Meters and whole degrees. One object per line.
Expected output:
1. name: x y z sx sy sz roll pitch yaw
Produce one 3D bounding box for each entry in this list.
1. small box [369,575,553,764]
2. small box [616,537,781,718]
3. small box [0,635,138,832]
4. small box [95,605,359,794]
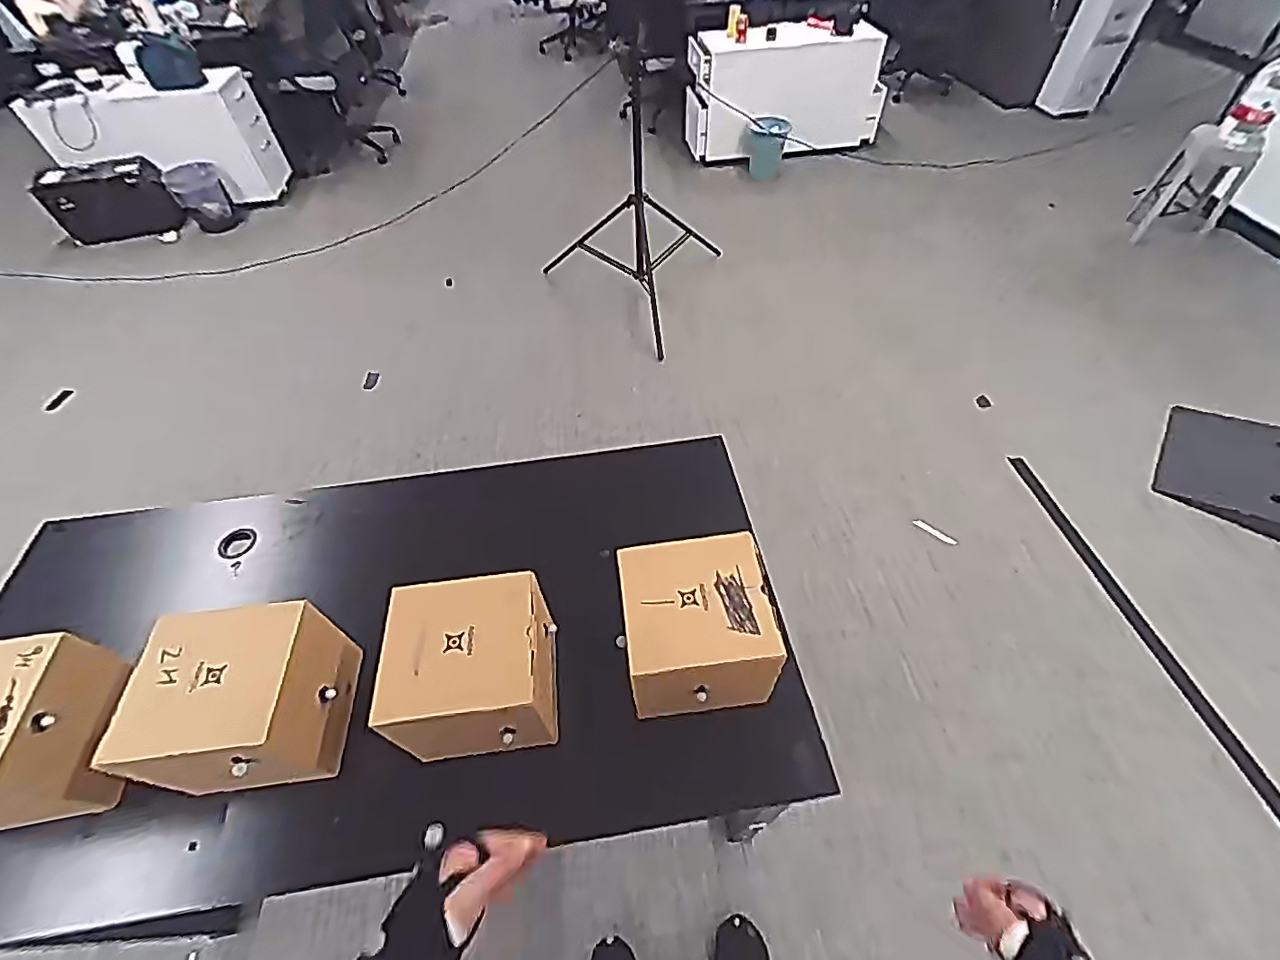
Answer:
1. small box: -0.207 0.242 0.683 0.179 0.176 0.168 -8 50 -3
2. small box: 0.066 0.195 0.705 0.179 0.176 0.168 -7 51 -1
3. small box: -0.749 0.311 0.650 0.179 0.176 0.168 -10 52 -5
4. small box: -0.479 0.274 0.667 0.179 0.176 0.168 -7 51 -3
